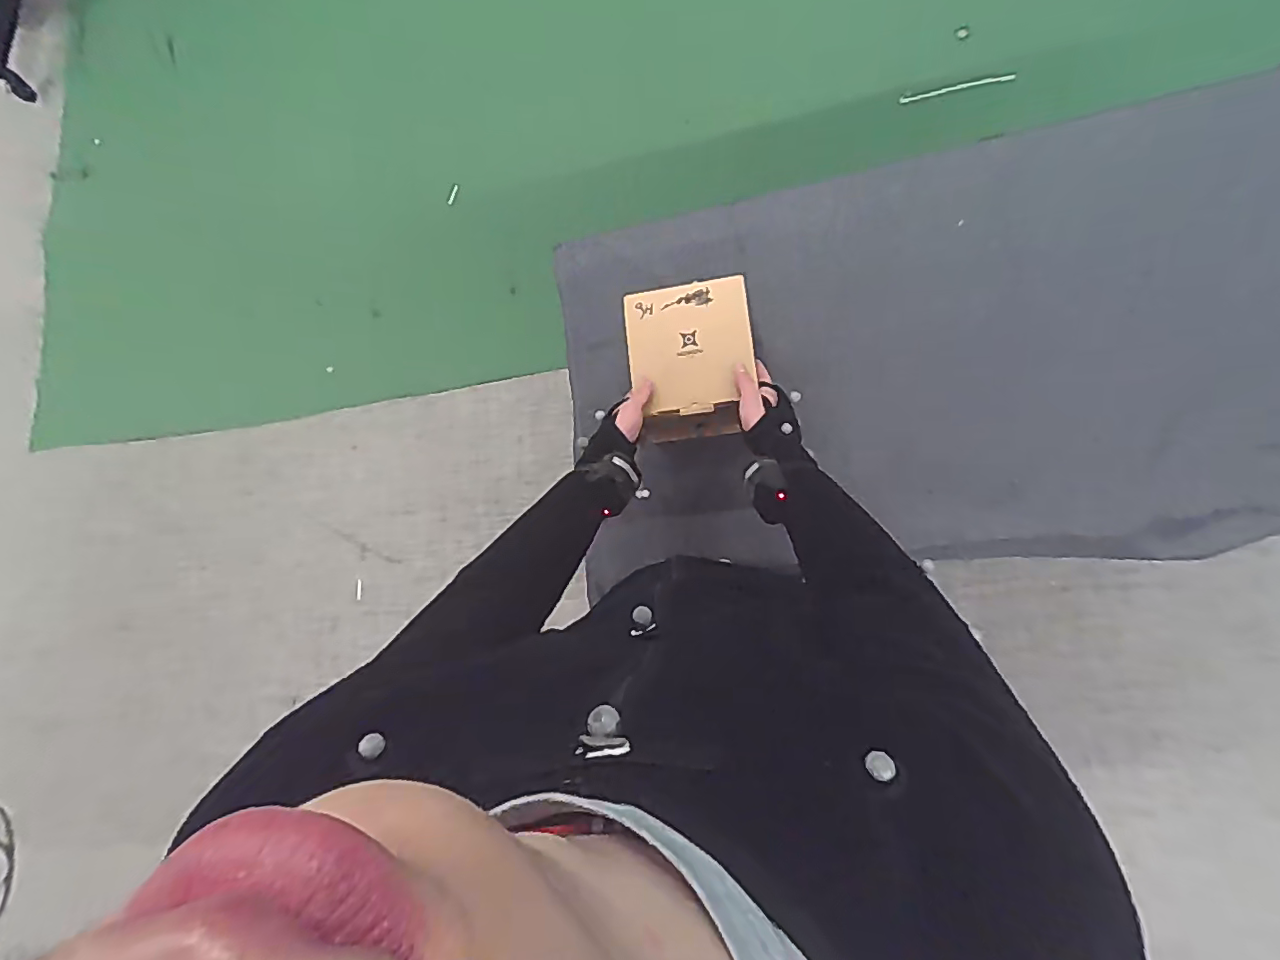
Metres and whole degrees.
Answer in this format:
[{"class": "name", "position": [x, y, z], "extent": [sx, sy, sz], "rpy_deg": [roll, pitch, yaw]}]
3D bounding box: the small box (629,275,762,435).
[{"class": "small box", "position": [0.085, -0.168, 0.792], "extent": [0.168, 0.176, 0.179], "rpy_deg": [-7, 82, 9]}]
